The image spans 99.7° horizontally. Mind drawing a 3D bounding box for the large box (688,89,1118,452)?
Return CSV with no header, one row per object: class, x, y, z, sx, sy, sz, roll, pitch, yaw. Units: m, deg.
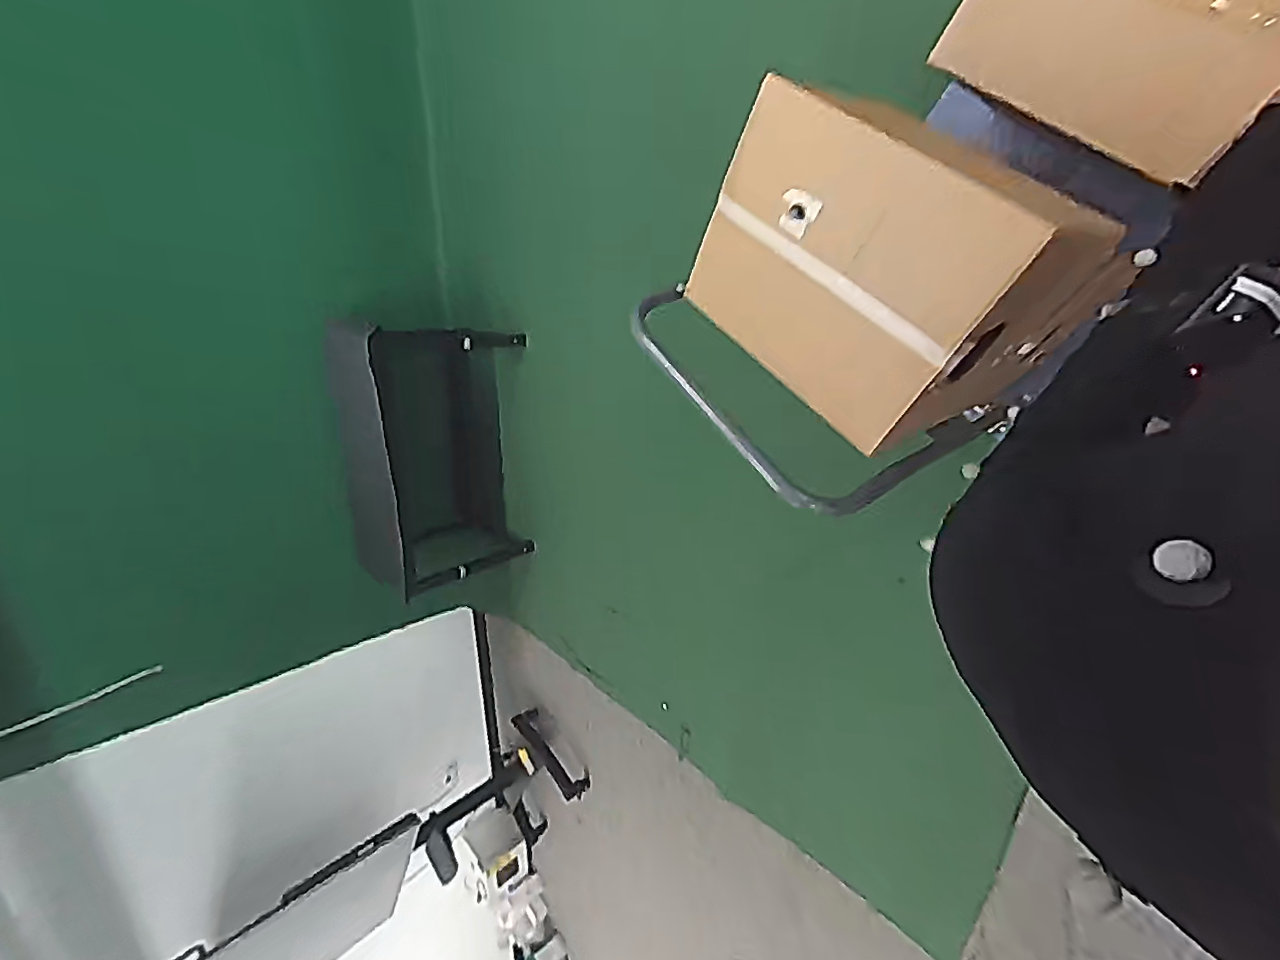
large box,0.350,-0.308,0.794,0.408,0.320,0.320,50,138,26
